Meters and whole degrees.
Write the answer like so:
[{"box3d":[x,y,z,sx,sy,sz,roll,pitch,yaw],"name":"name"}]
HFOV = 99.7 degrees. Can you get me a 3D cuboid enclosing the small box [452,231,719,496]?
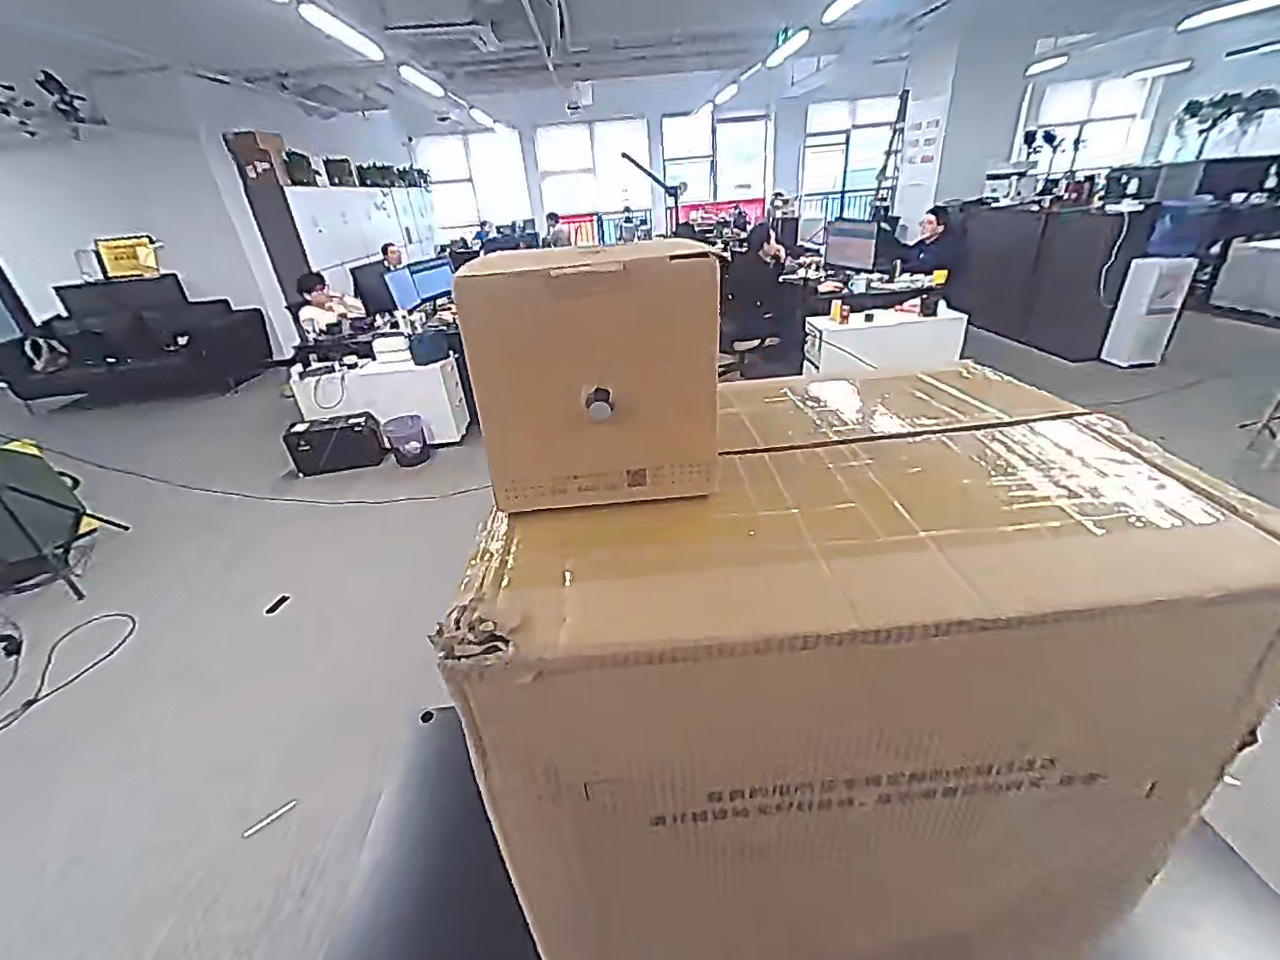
[{"box3d":[-0.032,-0.096,0.432,0.168,0.176,0.179,-5,28,-2],"name":"small box"}]
